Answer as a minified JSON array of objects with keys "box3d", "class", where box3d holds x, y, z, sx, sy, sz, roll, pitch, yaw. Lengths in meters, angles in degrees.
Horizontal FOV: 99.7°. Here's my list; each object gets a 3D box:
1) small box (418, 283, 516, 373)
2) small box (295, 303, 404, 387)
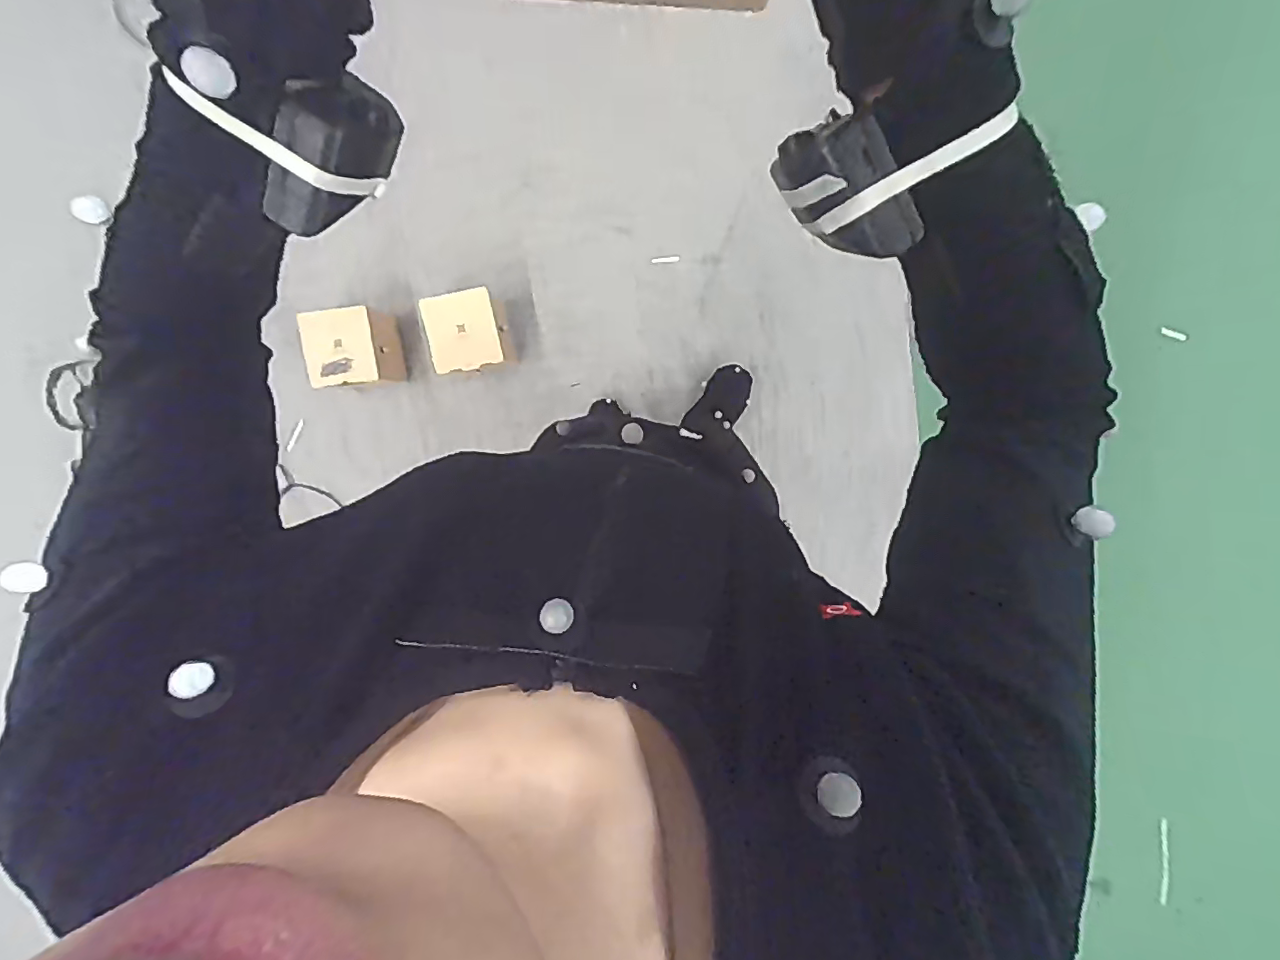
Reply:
[{"box3d":[-0.420,-0.369,1.339,0.168,0.176,0.179,-12,100,1],"class":"small box"},{"box3d":[-0.708,-0.329,1.341,0.168,0.176,0.179,-7,99,0],"class":"small box"}]
